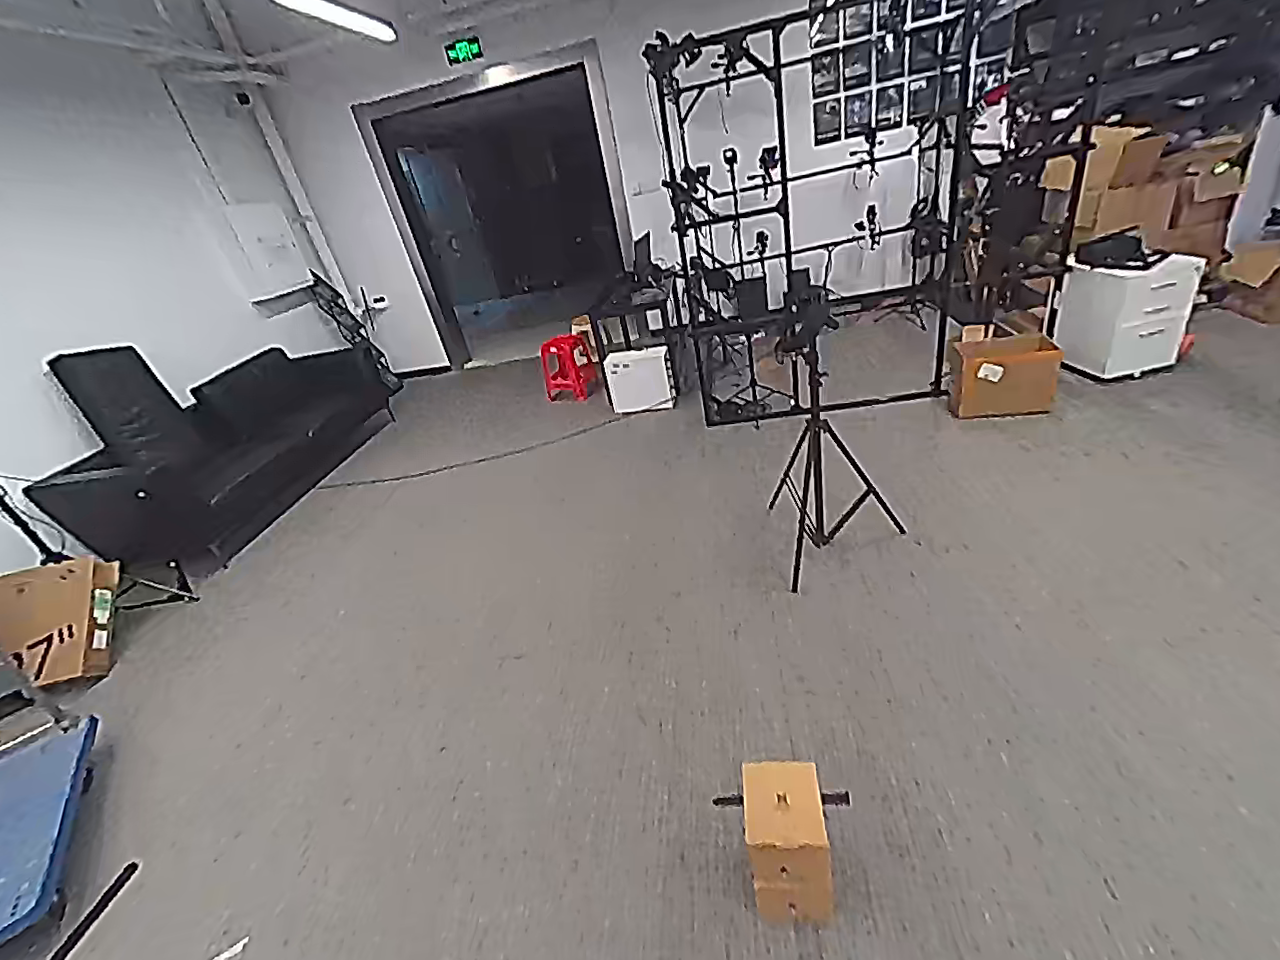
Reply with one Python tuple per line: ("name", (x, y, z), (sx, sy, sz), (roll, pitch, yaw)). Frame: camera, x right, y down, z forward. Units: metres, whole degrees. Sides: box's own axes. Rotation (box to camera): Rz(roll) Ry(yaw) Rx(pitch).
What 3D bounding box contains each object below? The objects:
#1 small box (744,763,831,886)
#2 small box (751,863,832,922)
("small box", (0.322, 0.758, 1.196), (0.168, 0.176, 0.179), (-7, 30, 11))
("small box", (0.350, 0.902, 1.268), (0.168, 0.176, 0.179), (-8, 29, 9))
